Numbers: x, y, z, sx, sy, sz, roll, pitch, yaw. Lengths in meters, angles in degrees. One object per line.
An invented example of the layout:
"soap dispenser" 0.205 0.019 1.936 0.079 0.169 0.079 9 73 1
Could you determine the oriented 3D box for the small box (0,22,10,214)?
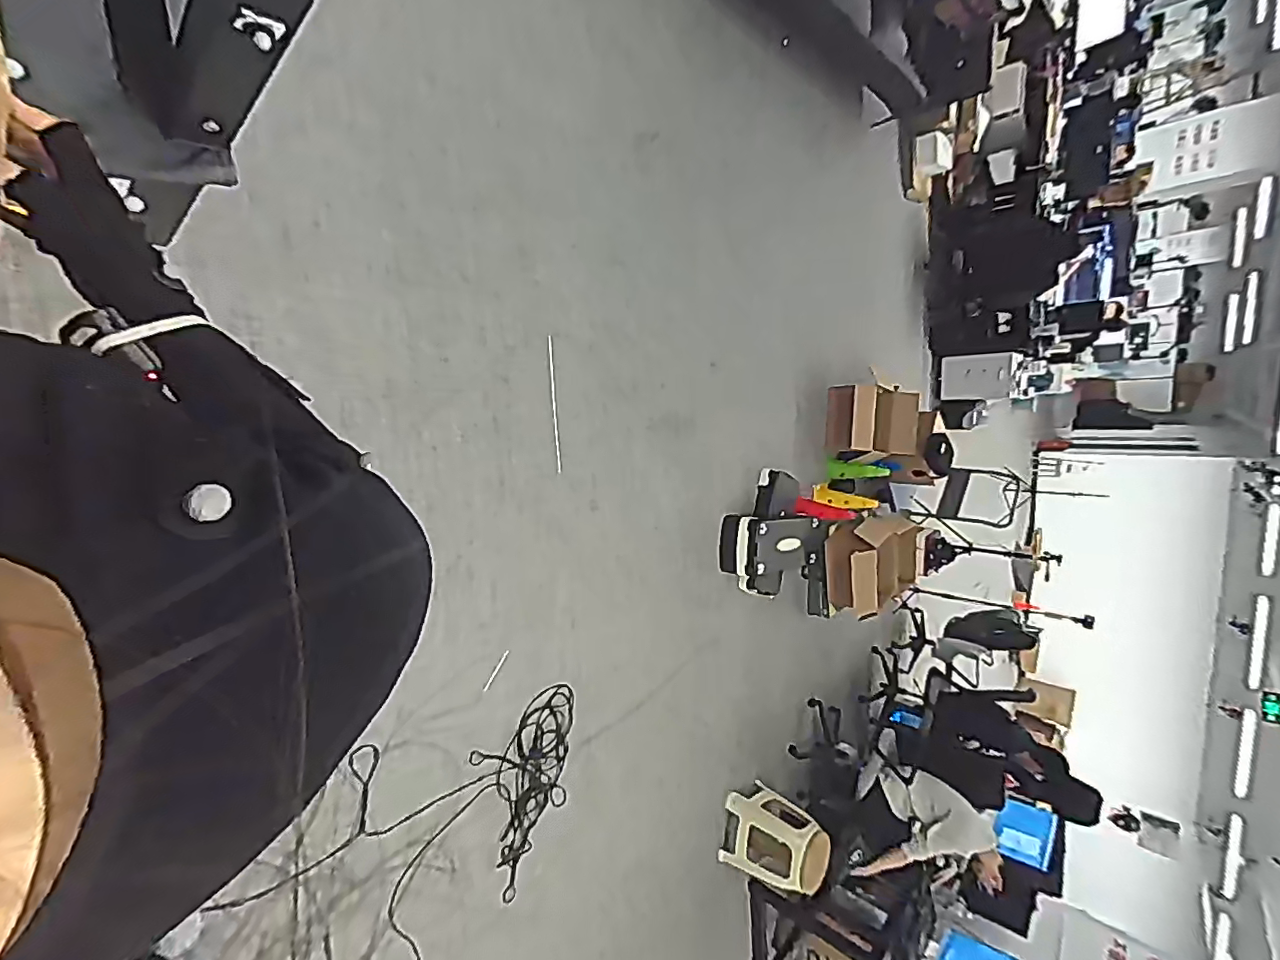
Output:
"small box" -0.532 -0.280 0.337 0.168 0.176 0.179 -6 67 -55
